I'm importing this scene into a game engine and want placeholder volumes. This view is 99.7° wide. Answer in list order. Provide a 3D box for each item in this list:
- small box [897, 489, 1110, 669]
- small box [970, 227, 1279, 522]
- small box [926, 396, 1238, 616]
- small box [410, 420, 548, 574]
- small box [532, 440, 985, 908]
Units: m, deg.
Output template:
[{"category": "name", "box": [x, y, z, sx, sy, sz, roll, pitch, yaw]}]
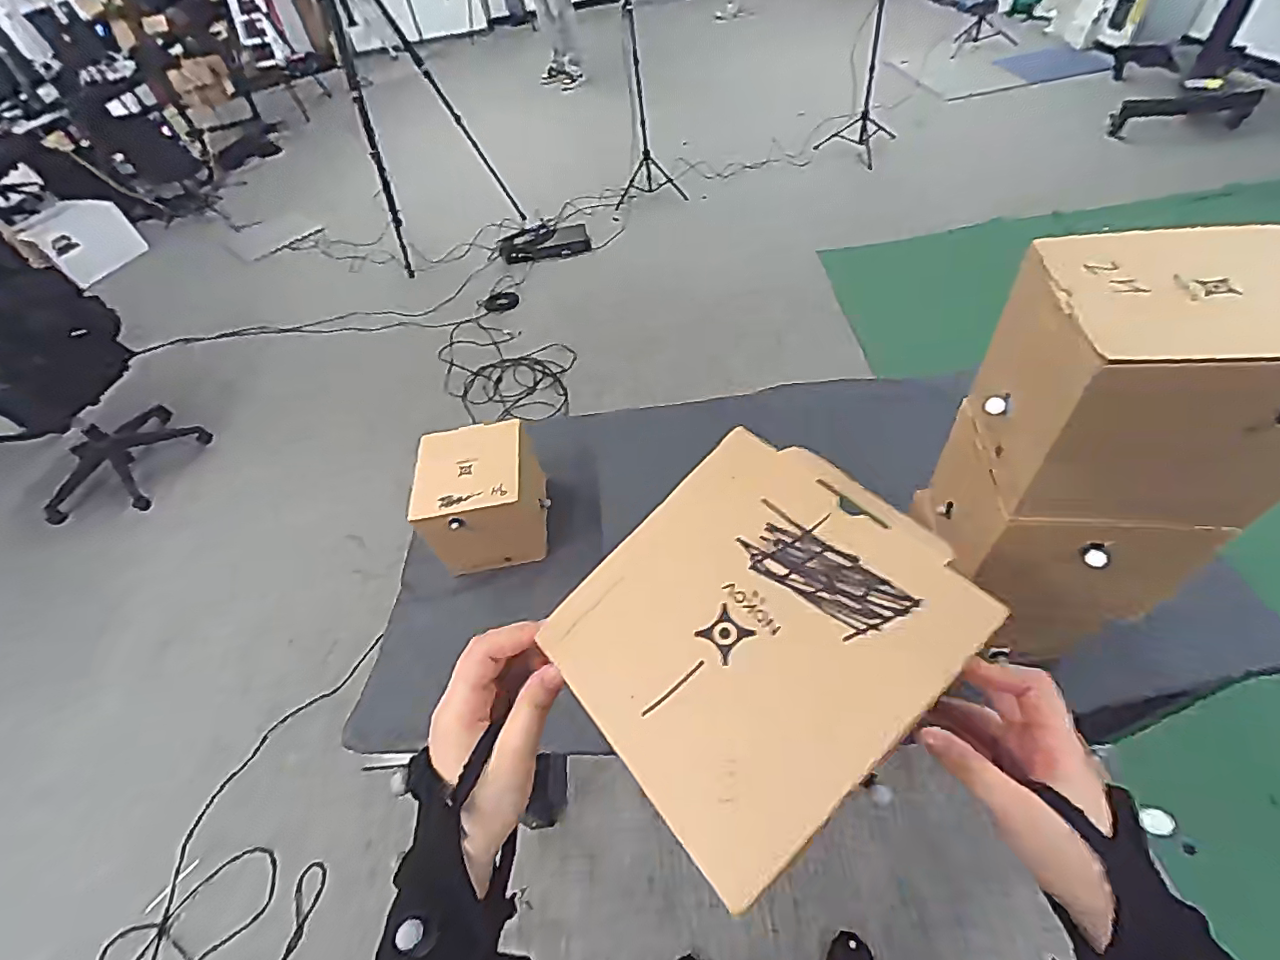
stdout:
[{"category": "small box", "box": [0.445, 0.122, 0.693, 0.168, 0.176, 0.179, -8, 49, 5]}, {"category": "small box", "box": [0.402, -0.079, 0.438, 0.179, 0.176, 0.168, 2, 50, 14]}, {"category": "small box", "box": [0.423, 0.029, 0.561, 0.179, 0.176, 0.168, 0, 50, 13]}, {"category": "small box", "box": [-0.254, 0.030, 0.897, 0.168, 0.176, 0.179, -11, 51, 2]}, {"category": "small box", "box": [0.072, 0.115, 0.343, 0.179, 0.176, 0.168, -44, 54, -7]}]
